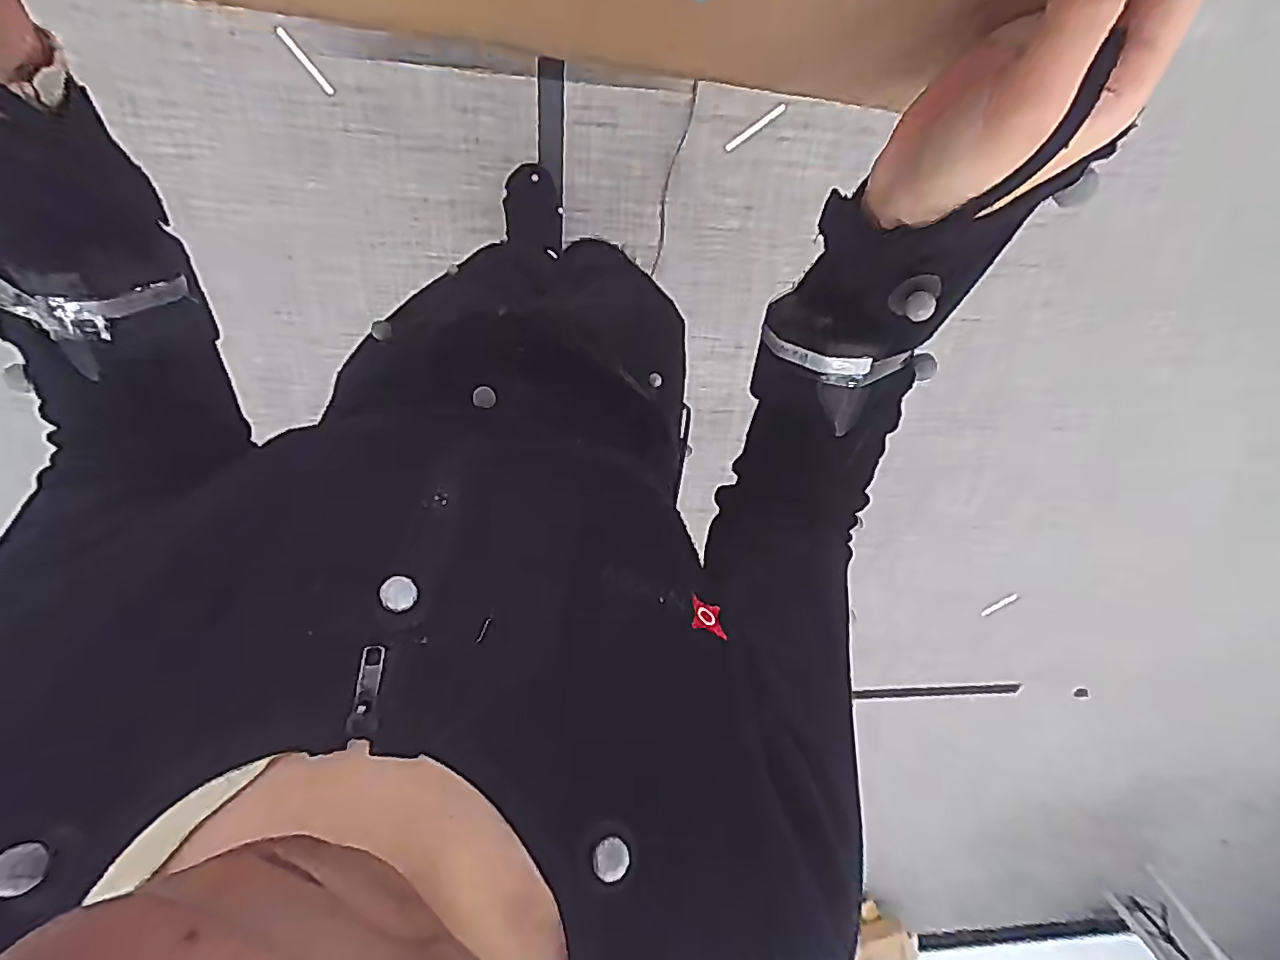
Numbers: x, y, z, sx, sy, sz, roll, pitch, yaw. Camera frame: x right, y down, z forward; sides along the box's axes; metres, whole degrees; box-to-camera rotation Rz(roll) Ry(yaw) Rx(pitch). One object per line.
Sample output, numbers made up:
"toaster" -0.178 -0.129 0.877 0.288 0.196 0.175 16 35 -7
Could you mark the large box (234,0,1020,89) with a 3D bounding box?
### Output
"large box" -0.027 -0.339 0.104 0.408 0.320 0.320 4 106 -5
